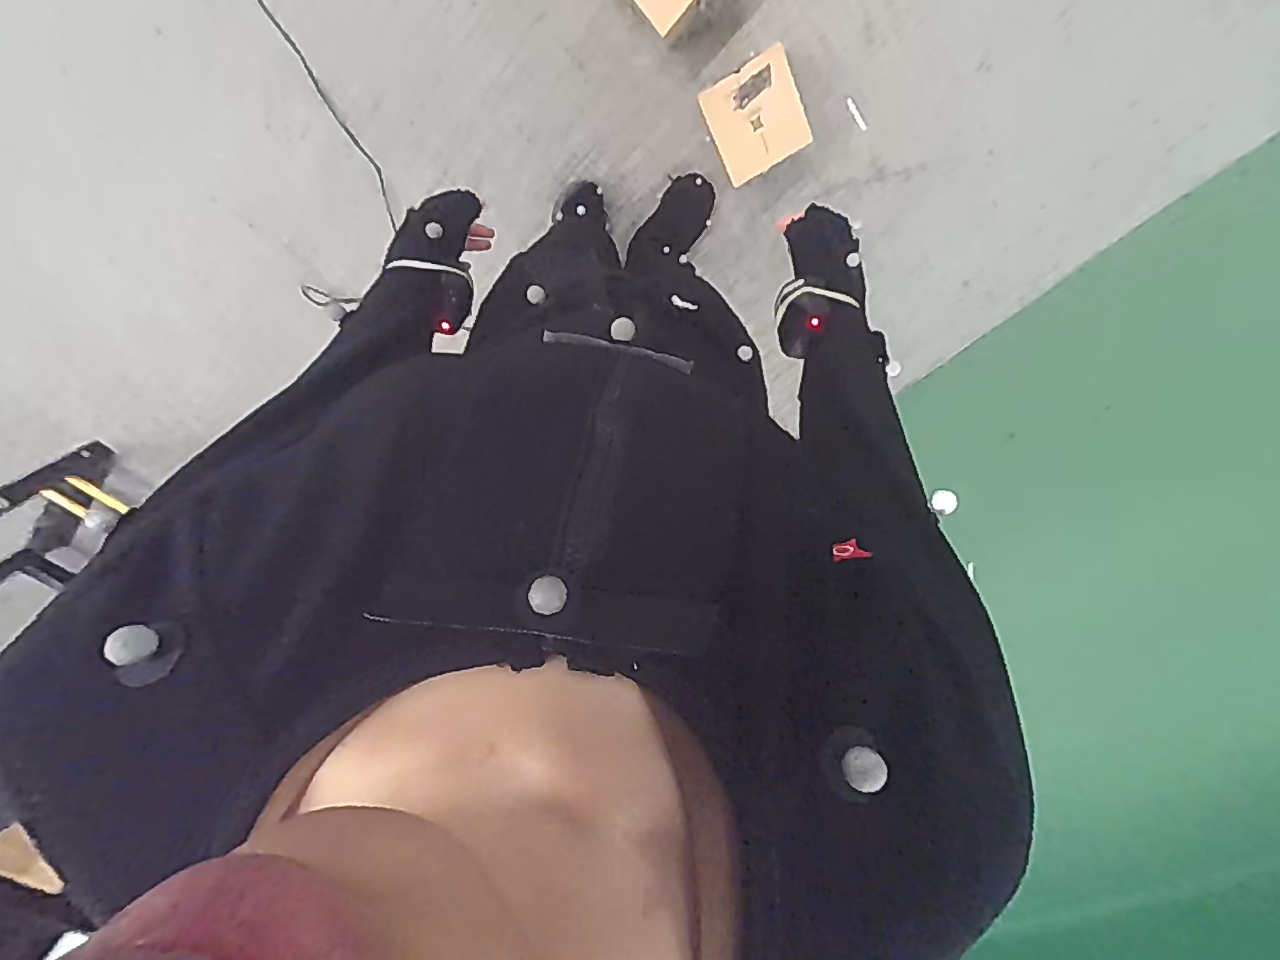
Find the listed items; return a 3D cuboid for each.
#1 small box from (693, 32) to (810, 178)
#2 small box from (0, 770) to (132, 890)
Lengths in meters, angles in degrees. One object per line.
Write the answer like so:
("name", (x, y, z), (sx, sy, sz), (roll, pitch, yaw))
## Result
("small box", (0.212, -0.729, 1.070), (0.168, 0.176, 0.179), (-24, 119, 18))
("small box", (-1.376, 0.831, 1.288), (0.168, 0.176, 0.179), (40, 116, -20))
